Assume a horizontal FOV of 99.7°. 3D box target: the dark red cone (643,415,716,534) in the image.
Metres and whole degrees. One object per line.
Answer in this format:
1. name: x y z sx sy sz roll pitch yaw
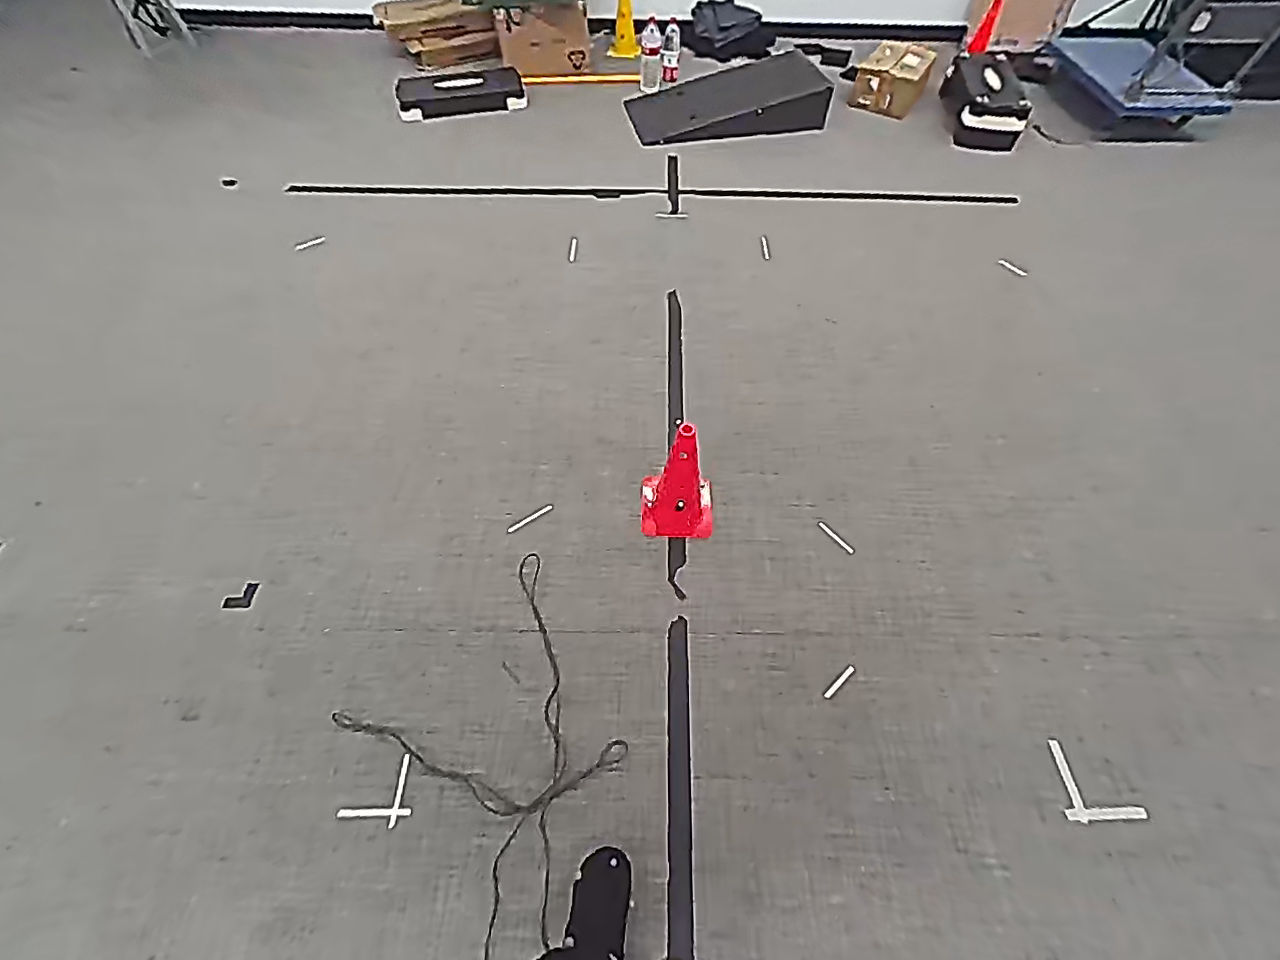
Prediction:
1. dark red cone: 0.109 -0.030 1.389 0.201 0.394 0.202 0 57 1
